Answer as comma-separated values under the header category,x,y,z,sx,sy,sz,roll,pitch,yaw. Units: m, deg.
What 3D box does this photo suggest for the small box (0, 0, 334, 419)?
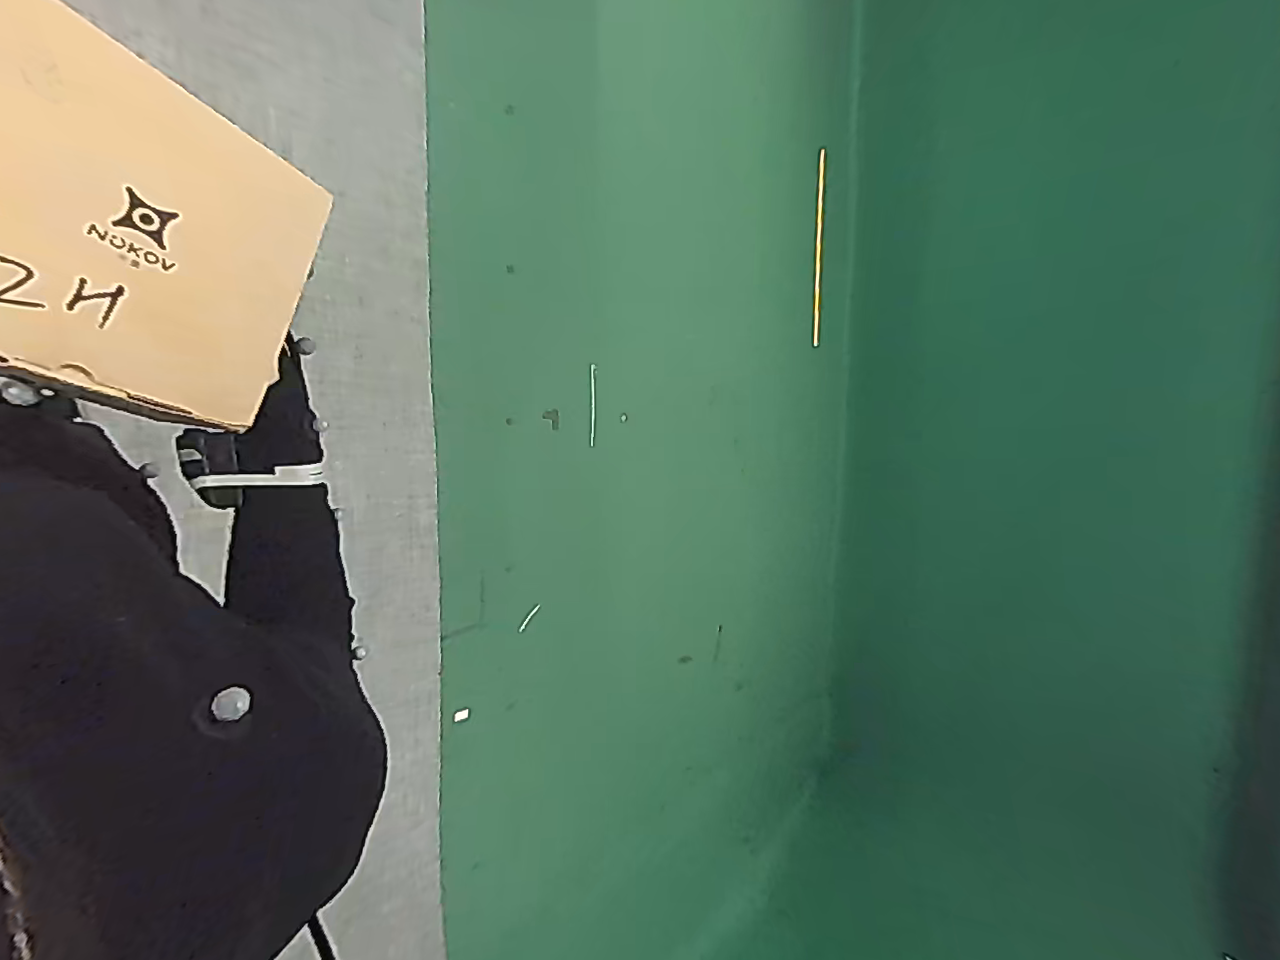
category,x,y,z,sx,sy,sz,roll,pitch,yaw
small box,-0.329,-0.149,0.321,0.168,0.176,0.179,29,72,-56
